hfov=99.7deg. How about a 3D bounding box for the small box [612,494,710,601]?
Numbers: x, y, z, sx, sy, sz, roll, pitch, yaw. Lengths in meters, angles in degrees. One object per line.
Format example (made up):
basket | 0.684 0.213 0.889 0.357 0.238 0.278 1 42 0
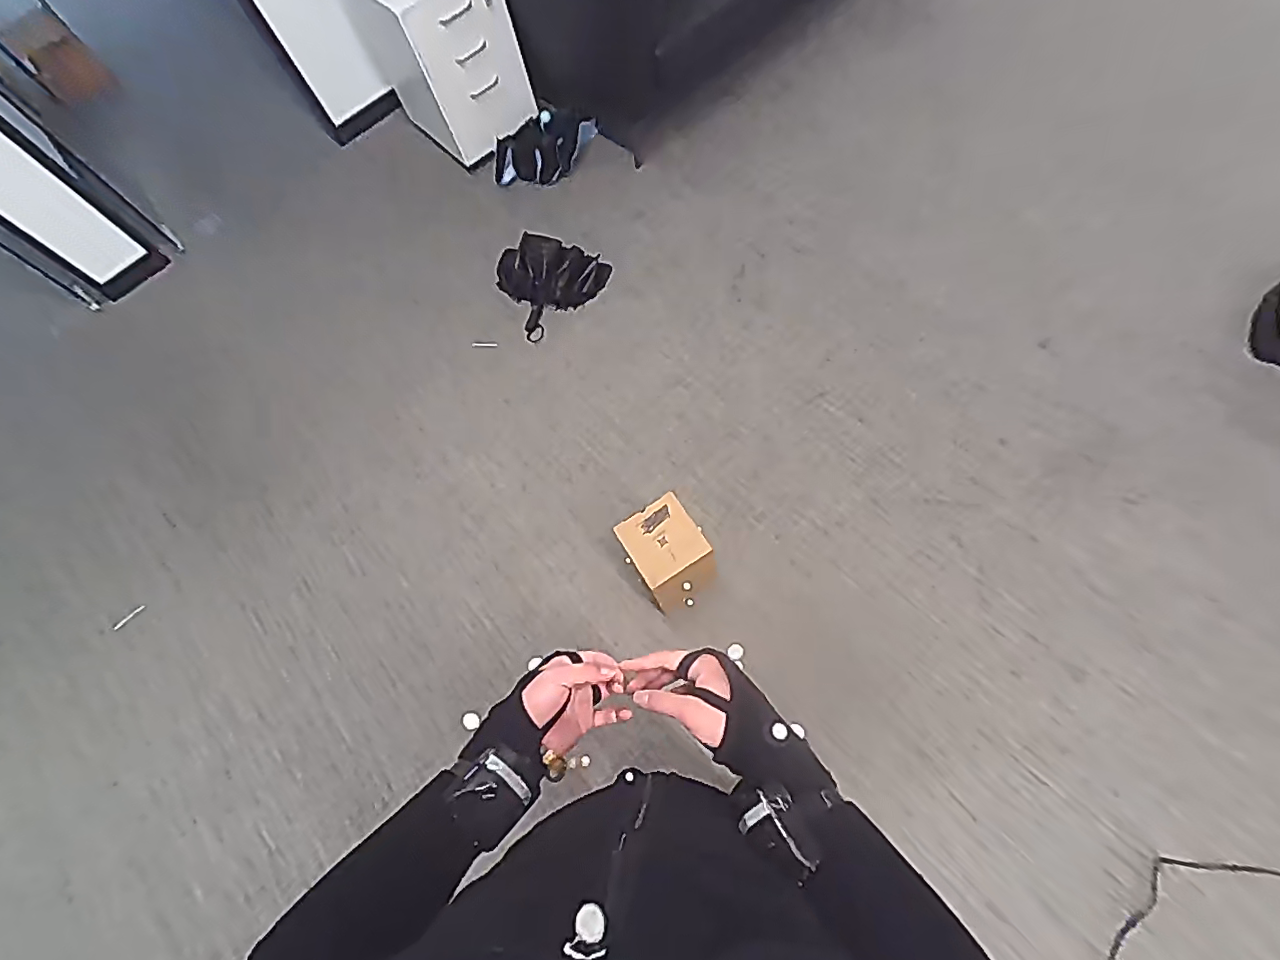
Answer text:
small box | 0.054 0.169 1.308 0.168 0.176 0.179 -32 67 -5

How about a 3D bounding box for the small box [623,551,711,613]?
small box | 0.075 0.235 1.458 0.168 0.176 0.179 -33 67 -5
